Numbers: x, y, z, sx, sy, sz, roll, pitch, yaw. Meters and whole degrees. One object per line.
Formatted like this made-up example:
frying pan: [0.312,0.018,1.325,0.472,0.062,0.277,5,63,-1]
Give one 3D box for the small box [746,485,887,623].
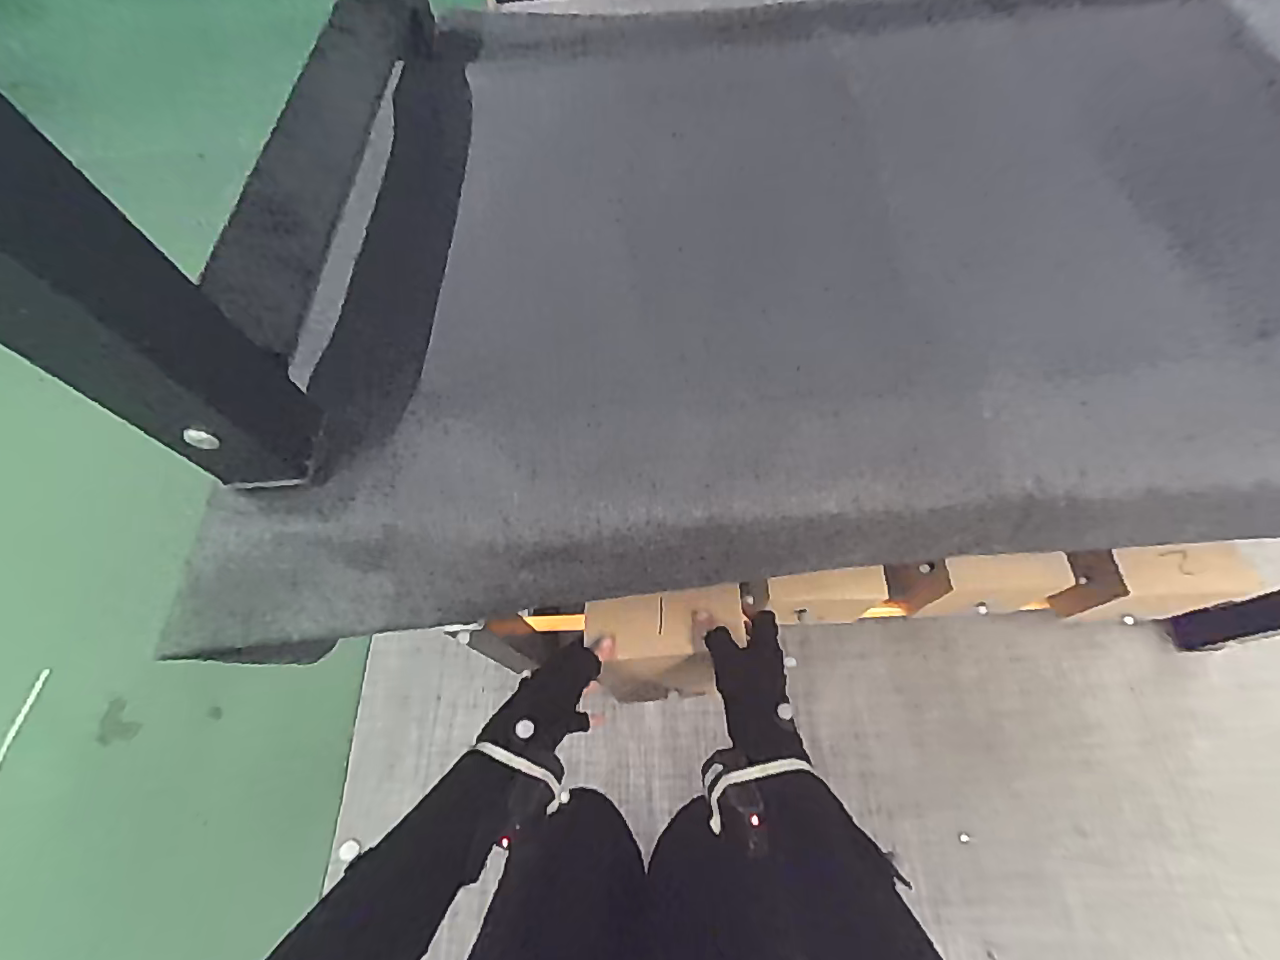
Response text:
small box: [0.265,0.125,0.855,0.168,0.176,0.179,-3,62,3]
